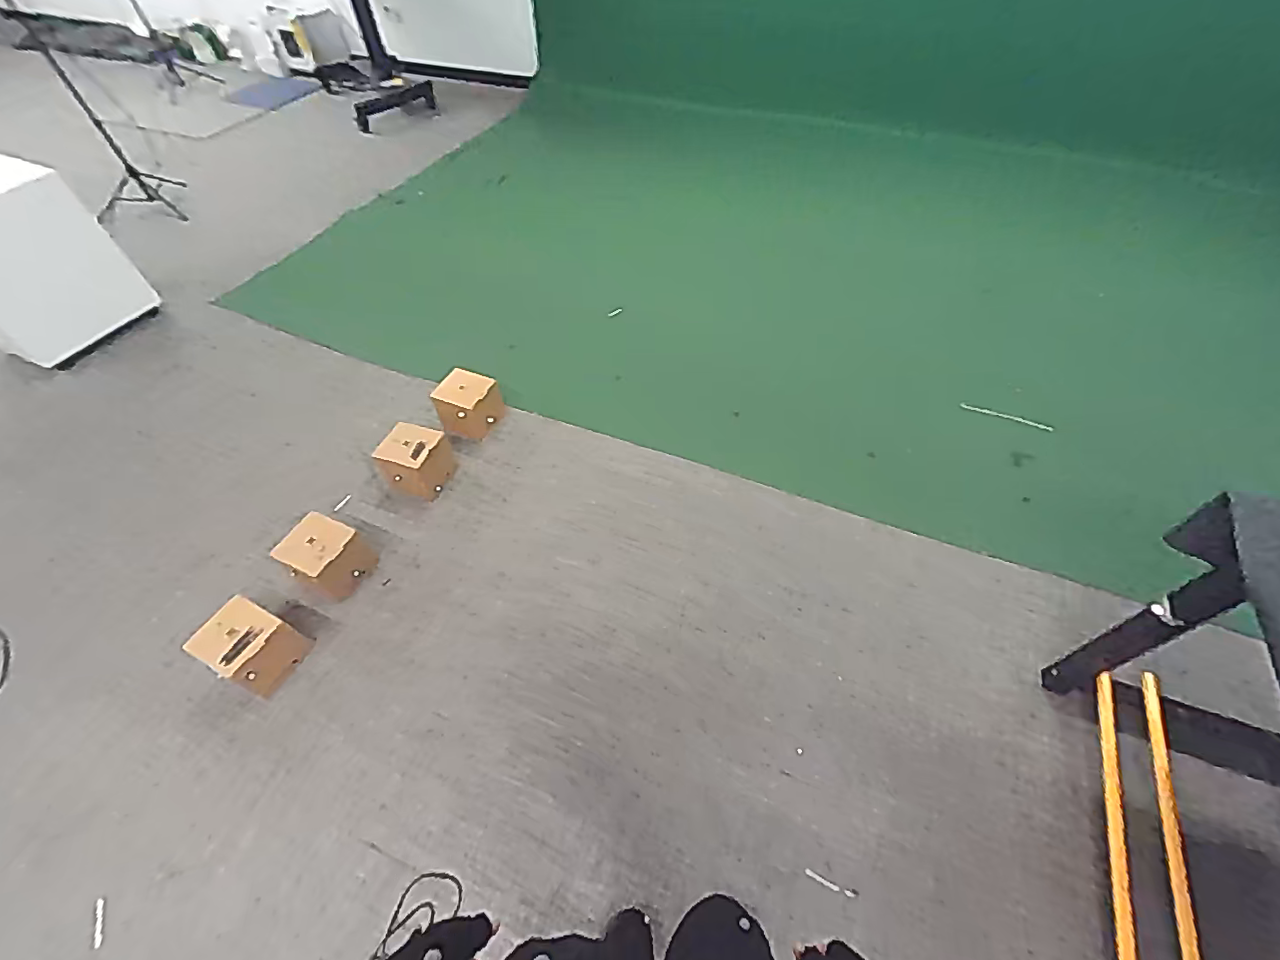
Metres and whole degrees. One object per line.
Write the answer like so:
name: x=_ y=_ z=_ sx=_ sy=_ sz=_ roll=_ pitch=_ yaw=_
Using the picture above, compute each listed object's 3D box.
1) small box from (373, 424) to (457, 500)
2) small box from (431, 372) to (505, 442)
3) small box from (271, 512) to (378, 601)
small box: x=-0.743 y=-0.056 z=1.807 sx=0.179 sy=0.176 sz=0.168 roll=14 pitch=53 yaw=13
small box: x=-0.622 y=-0.264 z=1.974 sx=0.179 sy=0.176 sz=0.168 roll=18 pitch=55 yaw=14
small box: x=-0.911 y=0.228 z=1.577 sx=0.179 sy=0.176 sz=0.168 roll=20 pitch=55 yaw=15
